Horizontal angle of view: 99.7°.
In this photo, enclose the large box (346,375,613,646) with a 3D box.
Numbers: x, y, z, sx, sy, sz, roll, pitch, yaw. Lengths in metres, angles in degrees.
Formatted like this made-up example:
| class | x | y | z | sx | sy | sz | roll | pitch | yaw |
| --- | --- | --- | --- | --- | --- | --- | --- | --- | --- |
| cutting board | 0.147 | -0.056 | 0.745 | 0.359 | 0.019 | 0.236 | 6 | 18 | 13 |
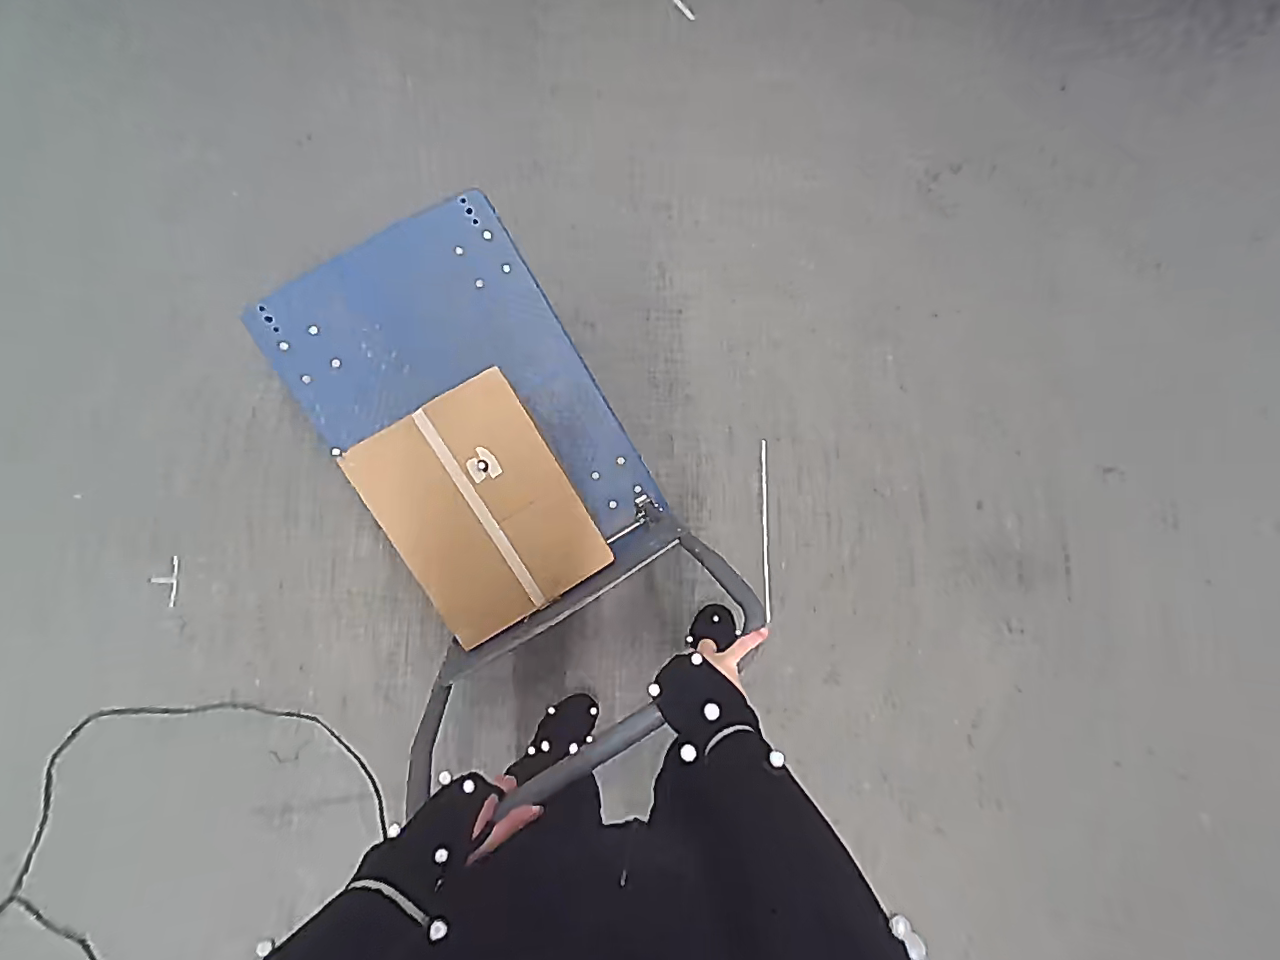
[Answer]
| class | x | y | z | sx | sy | sz | roll | pitch | yaw |
| --- | --- | --- | --- | --- | --- | --- | --- | --- | --- |
| large box | -0.295 | 0.050 | 1.111 | 0.320 | 0.320 | 0.408 | -31 | 97 | -6 |
